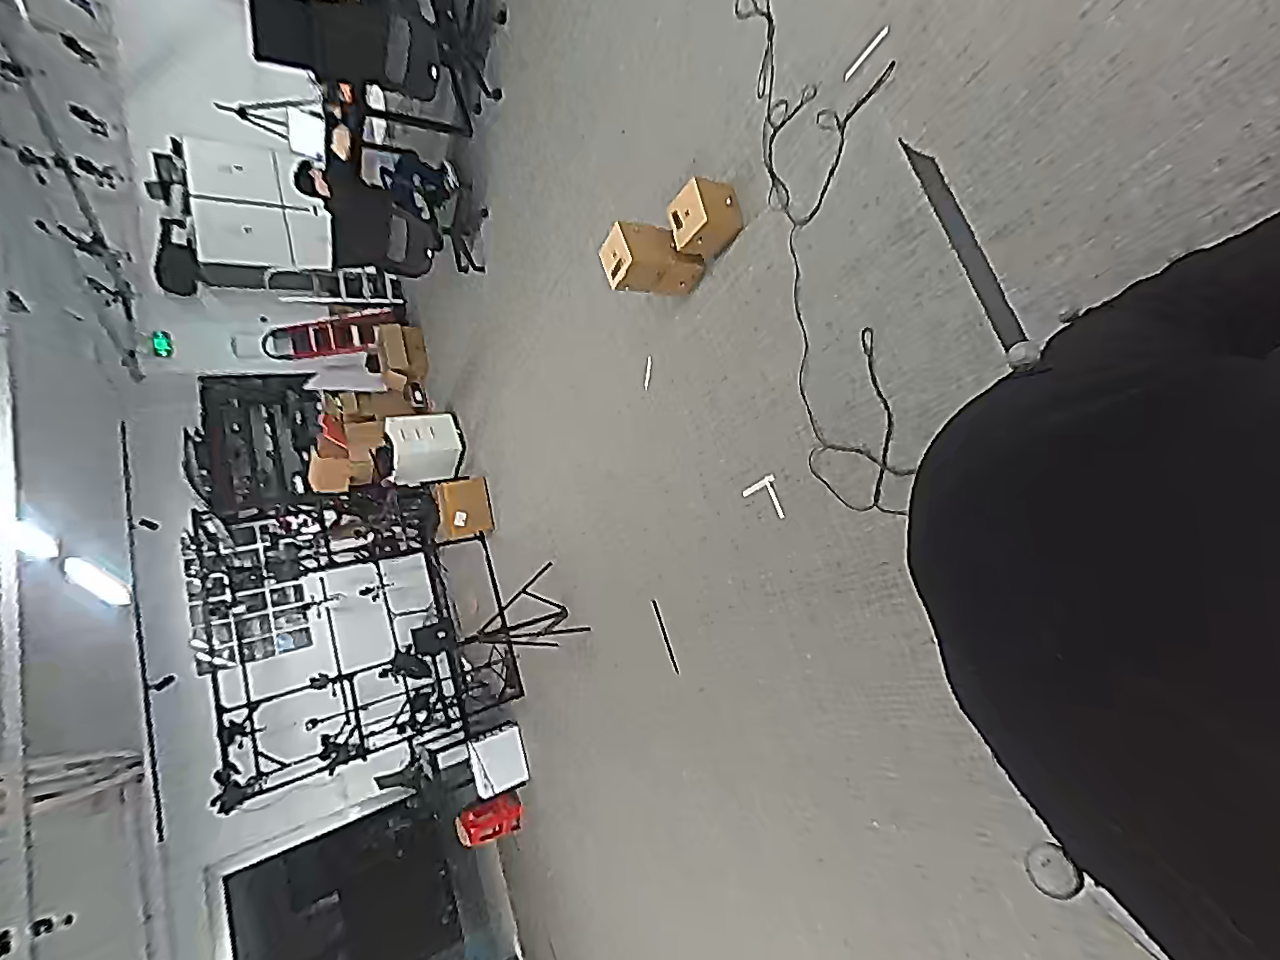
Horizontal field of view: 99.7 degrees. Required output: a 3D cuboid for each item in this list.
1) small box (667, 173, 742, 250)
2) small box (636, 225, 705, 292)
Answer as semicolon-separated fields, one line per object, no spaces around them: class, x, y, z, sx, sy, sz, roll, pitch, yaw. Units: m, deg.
small box;0.222;-0.919;1.870;0.179;0.176;0.168;-27;76;56
small box;0.116;-0.838;2.062;0.168;0.176;0.179;-47;60;52
